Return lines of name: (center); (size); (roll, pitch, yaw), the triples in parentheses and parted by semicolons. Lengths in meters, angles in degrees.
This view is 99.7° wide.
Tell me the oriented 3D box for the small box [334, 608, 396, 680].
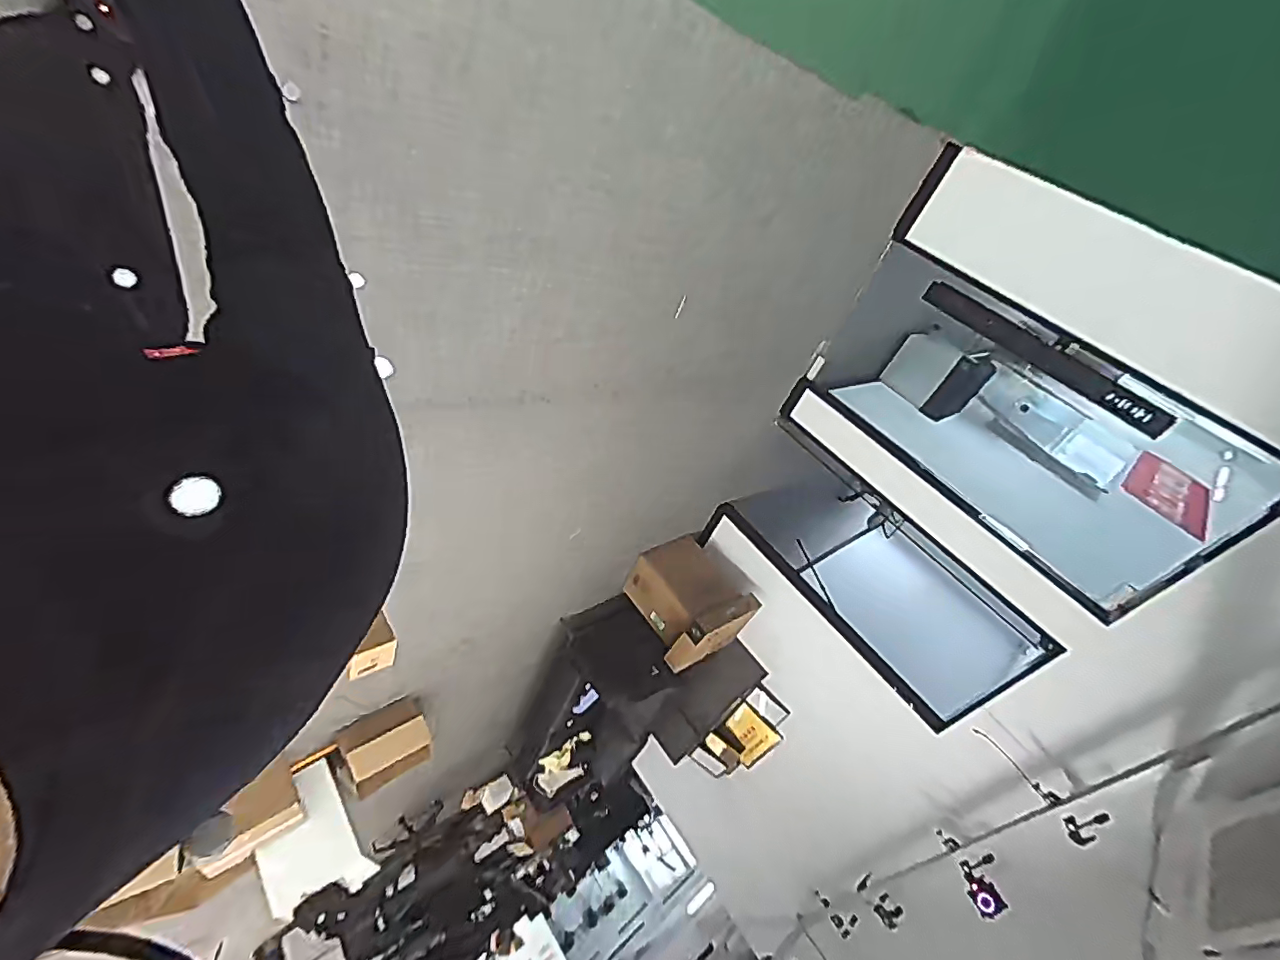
small box: (-1.067, 0.629, 2.088); (0.168, 0.176, 0.179); (-14, 142, -44)
